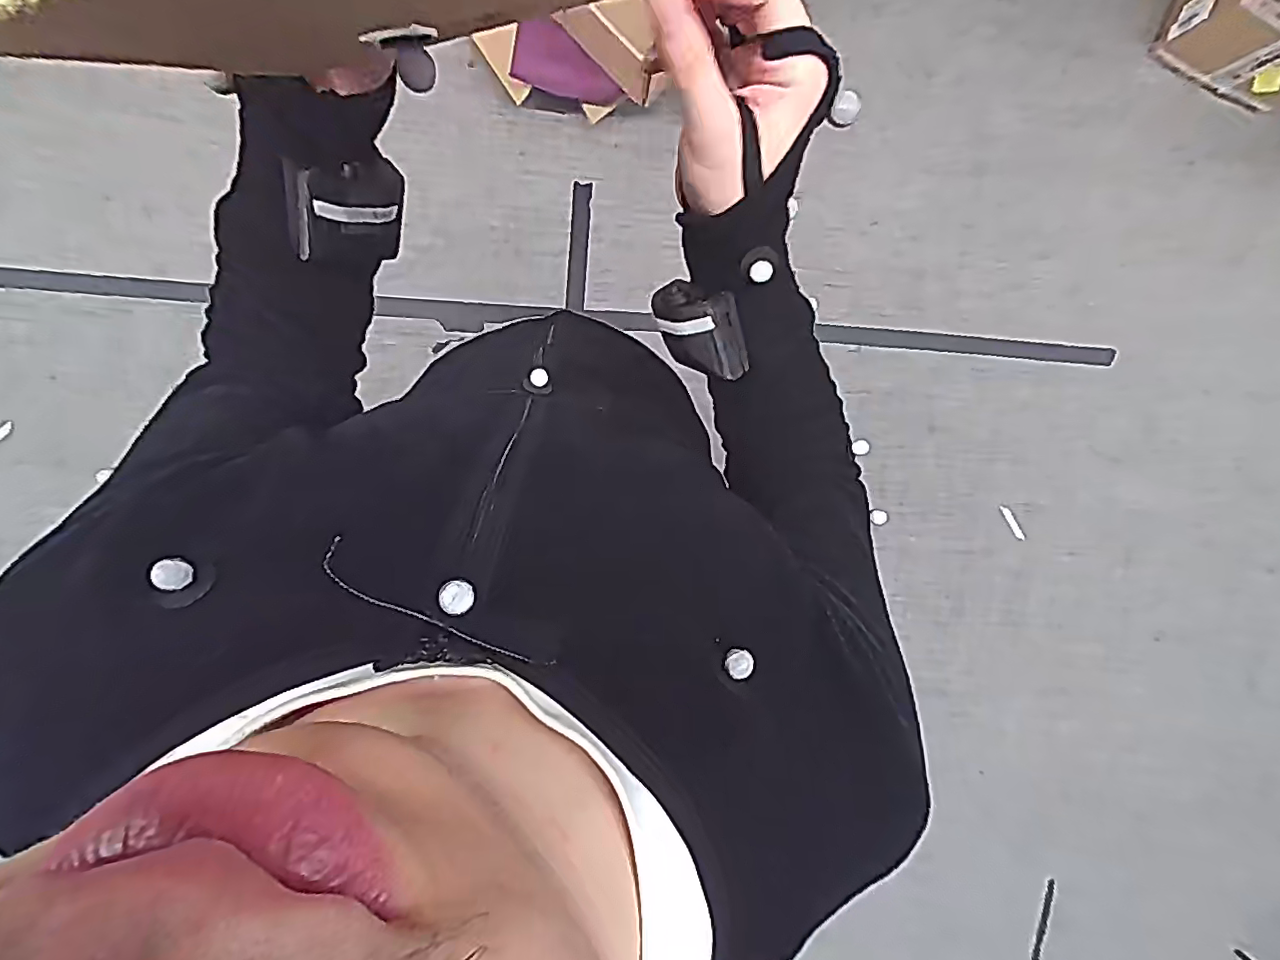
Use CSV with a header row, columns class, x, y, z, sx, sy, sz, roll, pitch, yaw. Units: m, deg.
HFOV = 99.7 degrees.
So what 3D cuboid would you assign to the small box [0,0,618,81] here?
class,x,y,z,sx,sy,sz,roll,pitch,yaw
small box,-0.106,-0.231,0.144,0.168,0.176,0.179,-4,124,12
